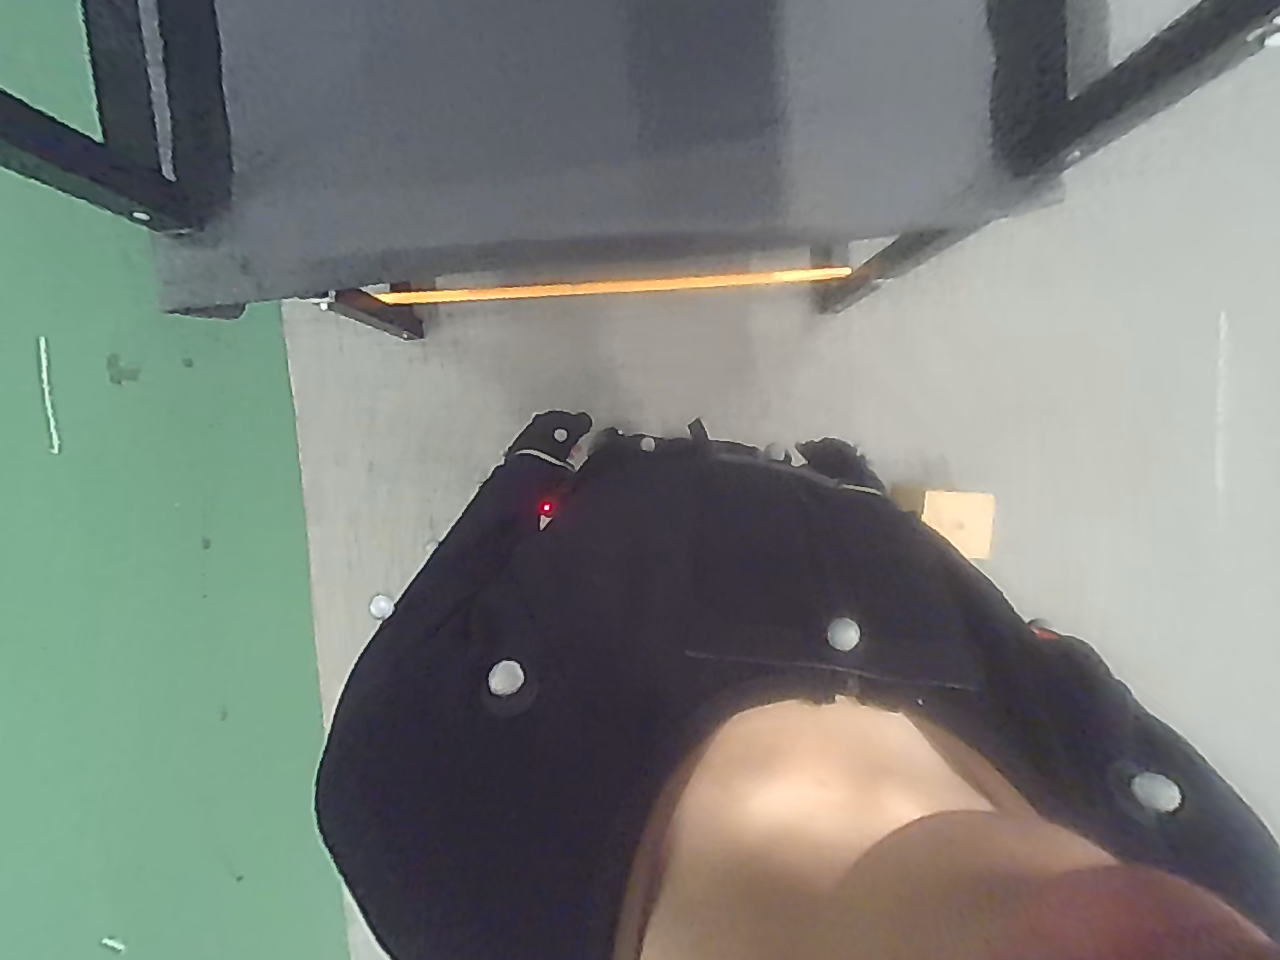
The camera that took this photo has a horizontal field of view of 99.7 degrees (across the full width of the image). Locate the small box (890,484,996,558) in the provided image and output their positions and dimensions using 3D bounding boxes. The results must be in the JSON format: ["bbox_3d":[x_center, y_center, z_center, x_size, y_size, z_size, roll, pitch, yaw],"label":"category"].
[{"bbox_3d":[0.783,0.101,1.411,0.179,0.176,0.168,3,94,1],"label":"small box"}]
